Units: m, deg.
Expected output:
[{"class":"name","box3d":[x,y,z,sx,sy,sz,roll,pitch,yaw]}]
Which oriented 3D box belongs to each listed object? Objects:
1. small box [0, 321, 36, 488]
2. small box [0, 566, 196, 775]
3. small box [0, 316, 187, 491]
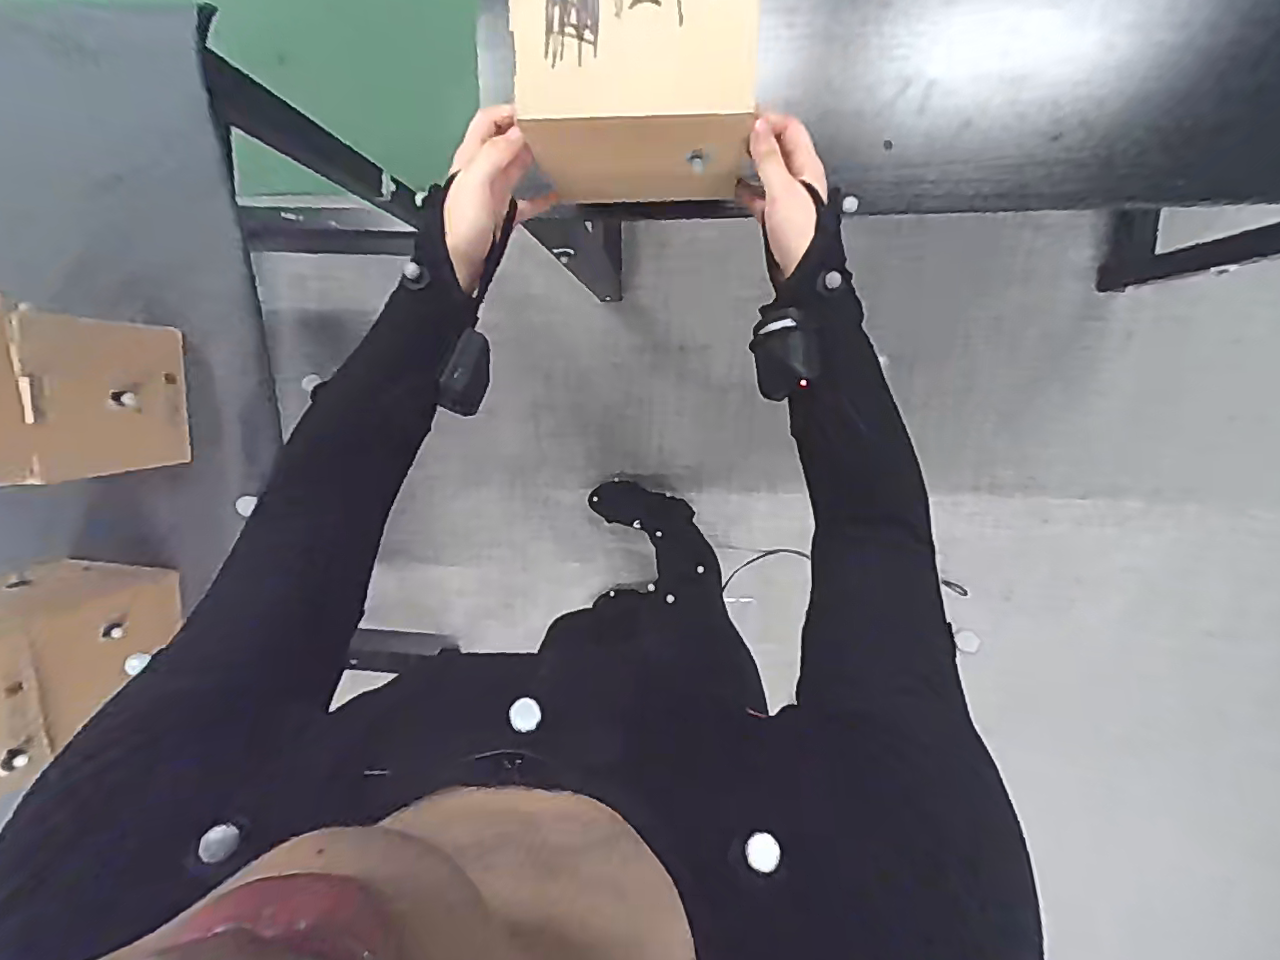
[{"class":"small box","box3d":[-0.663,-0.071,0.434,0.168,0.176,0.179,3,102,6]},{"class":"small box","box3d":[-0.691,0.215,0.657,0.168,0.176,0.179,4,102,6]},{"class":"small box","box3d":[-0.646,-0.091,0.595,0.179,0.176,0.168,5,101,5]}]
